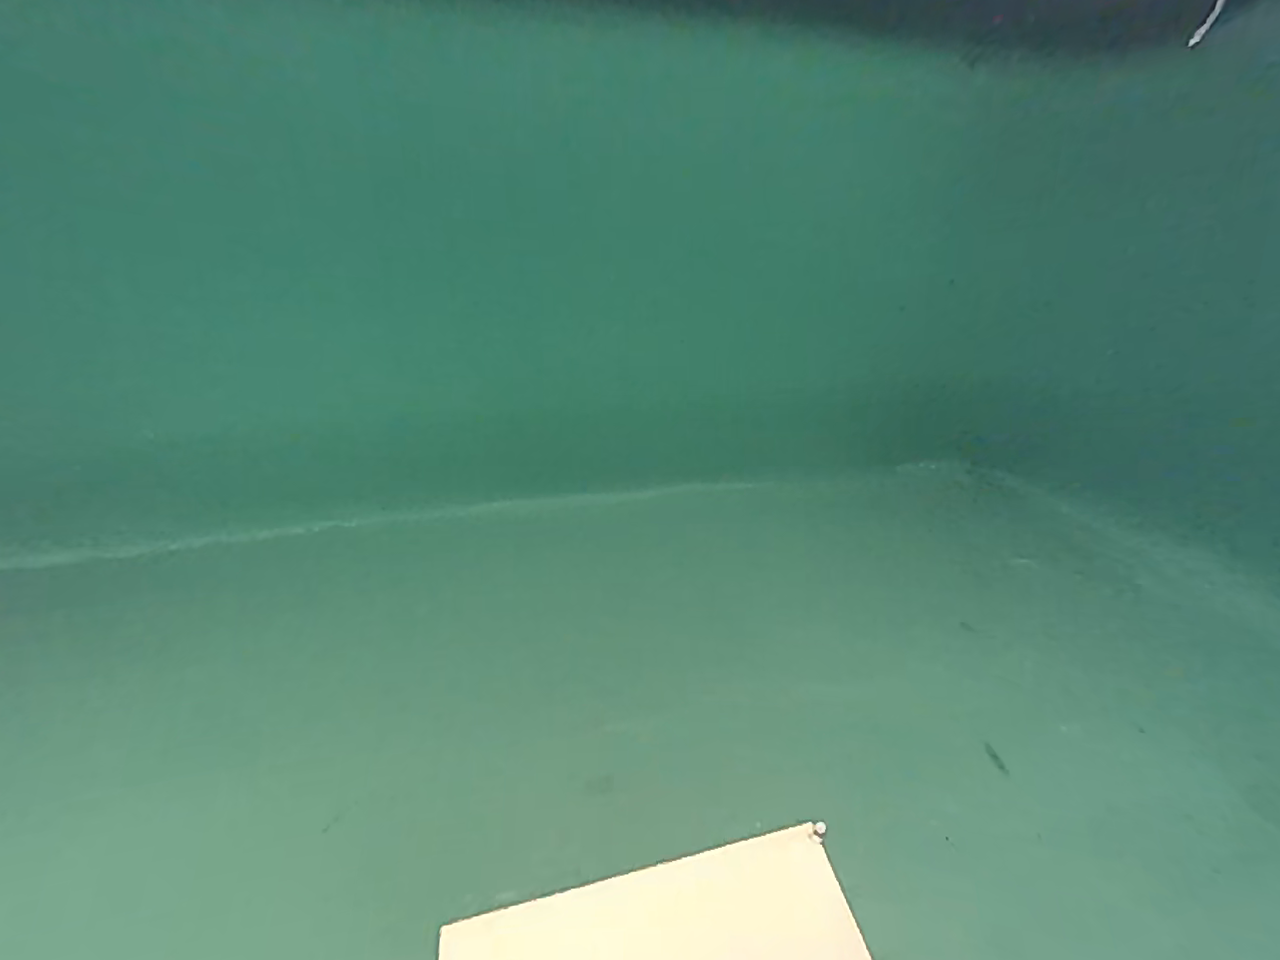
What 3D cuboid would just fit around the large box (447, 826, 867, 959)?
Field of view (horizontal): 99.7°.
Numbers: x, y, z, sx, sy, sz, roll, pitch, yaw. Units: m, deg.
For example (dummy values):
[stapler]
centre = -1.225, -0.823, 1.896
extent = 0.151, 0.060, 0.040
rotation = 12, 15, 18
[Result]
[large box]
centre = 0.038, 0.634, 0.550
extent = 0.408, 0.320, 0.320
rotation = -9, 38, -10
